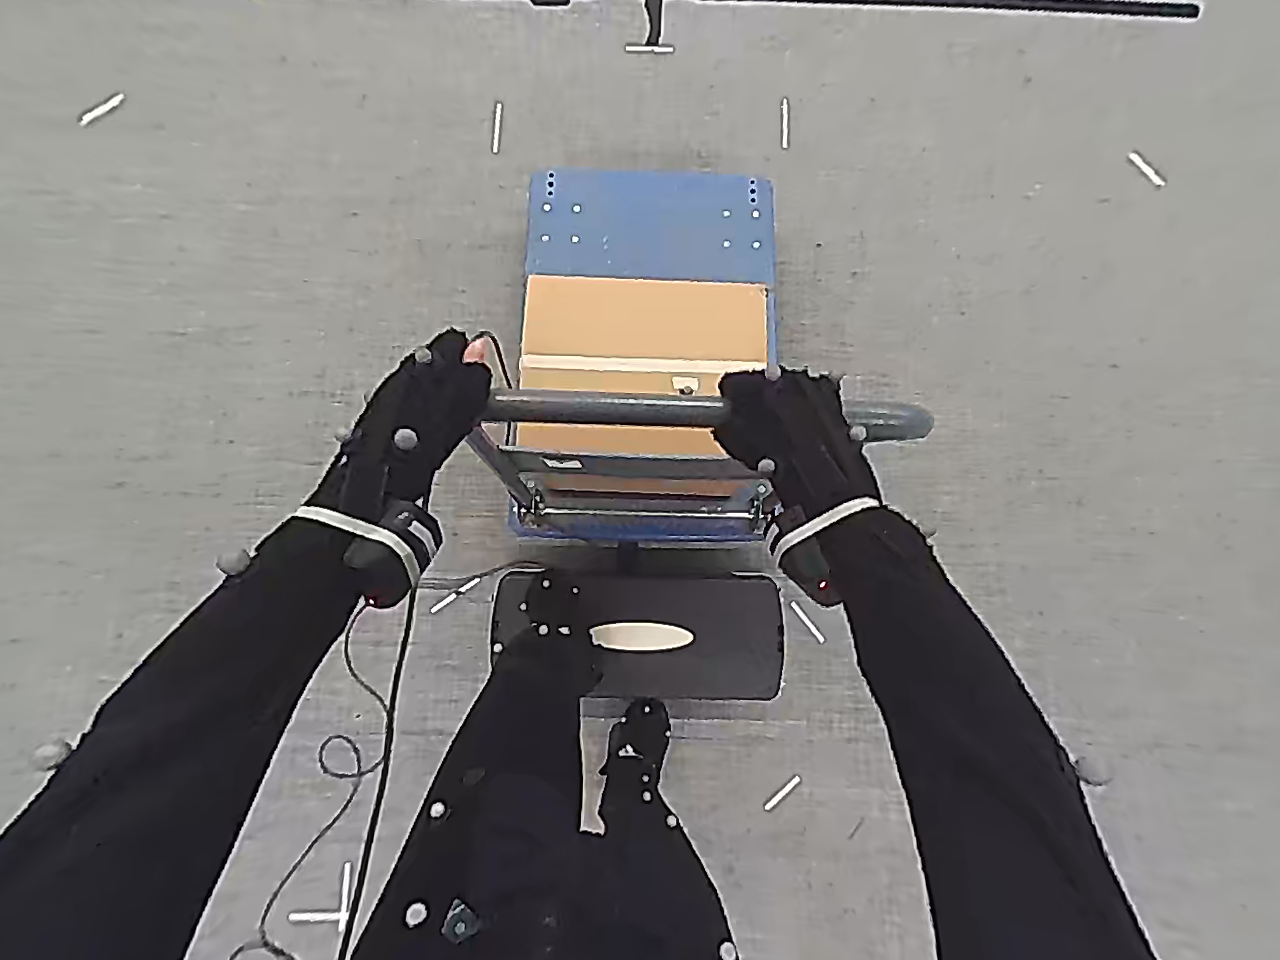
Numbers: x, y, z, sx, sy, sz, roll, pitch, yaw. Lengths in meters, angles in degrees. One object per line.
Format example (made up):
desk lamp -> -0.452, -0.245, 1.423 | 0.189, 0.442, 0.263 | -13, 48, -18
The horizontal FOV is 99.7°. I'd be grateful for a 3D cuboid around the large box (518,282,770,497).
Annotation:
large box -> 0.001, -0.146, 1.019 | 0.408, 0.320, 0.320 | 2, 79, -2
